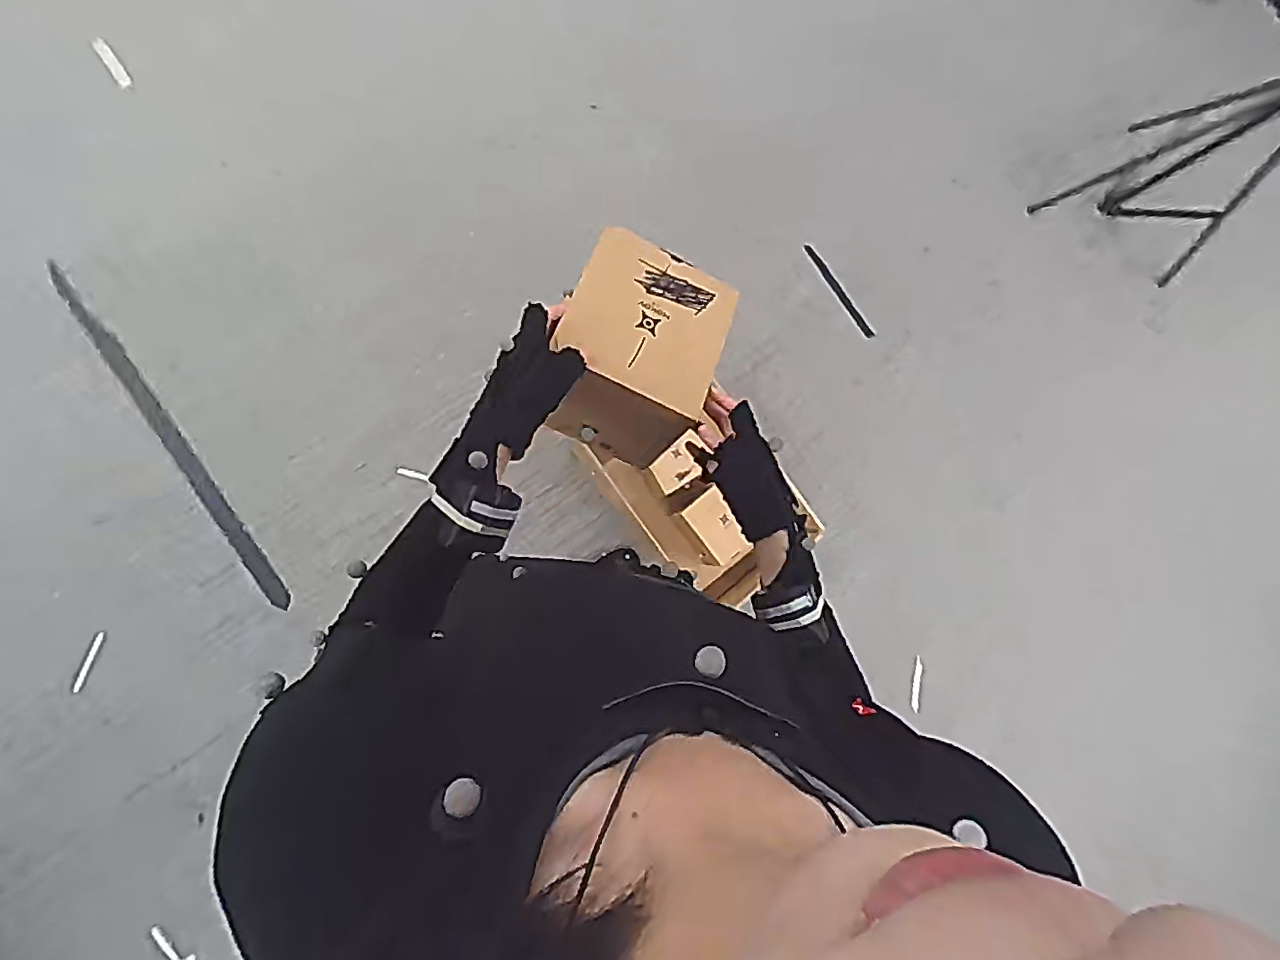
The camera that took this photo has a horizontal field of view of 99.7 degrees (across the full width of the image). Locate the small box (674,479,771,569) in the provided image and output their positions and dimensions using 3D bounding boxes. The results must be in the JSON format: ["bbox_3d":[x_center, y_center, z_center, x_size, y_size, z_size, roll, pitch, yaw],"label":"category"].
[{"bbox_3d":[0.215,0.118,1.457,0.168,0.176,0.179,-37,89,-11],"label":"small box"}]

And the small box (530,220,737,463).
[{"bbox_3d":[-0.016,-0.146,0.623,0.168,0.176,0.179,24,68,-10],"label":"small box"}]

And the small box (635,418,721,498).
[{"bbox_3d":[0.085,-0.065,1.452,0.168,0.176,0.179,-32,90,-11],"label":"small box"}]
